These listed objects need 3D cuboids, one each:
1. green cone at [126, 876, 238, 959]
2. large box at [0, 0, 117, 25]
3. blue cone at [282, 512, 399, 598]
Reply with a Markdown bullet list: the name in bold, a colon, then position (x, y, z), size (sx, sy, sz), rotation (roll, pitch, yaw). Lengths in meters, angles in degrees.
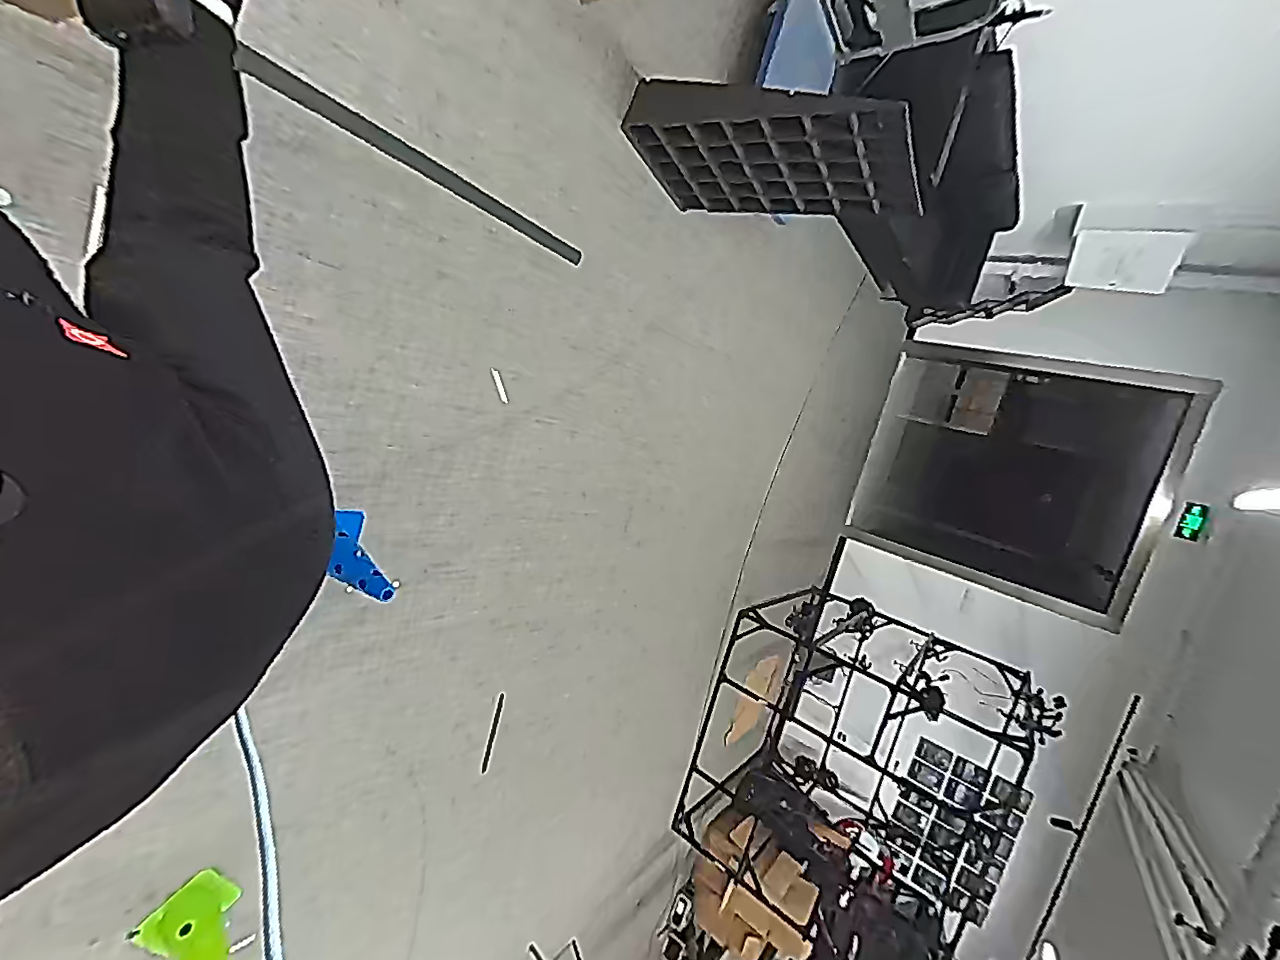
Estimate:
- **green cone**: position (-1.152, 1.295, 1.439), size (0.202, 0.368, 0.200), rotation (-42, 138, -37)
- **large box**: position (-0.549, -0.518, 0.259), size (0.408, 0.320, 0.320), rotation (-8, 119, -55)
- **blue cone**: position (-0.774, 0.228, 1.449), size (0.192, 0.380, 0.193), rotation (12, 97, -57)
